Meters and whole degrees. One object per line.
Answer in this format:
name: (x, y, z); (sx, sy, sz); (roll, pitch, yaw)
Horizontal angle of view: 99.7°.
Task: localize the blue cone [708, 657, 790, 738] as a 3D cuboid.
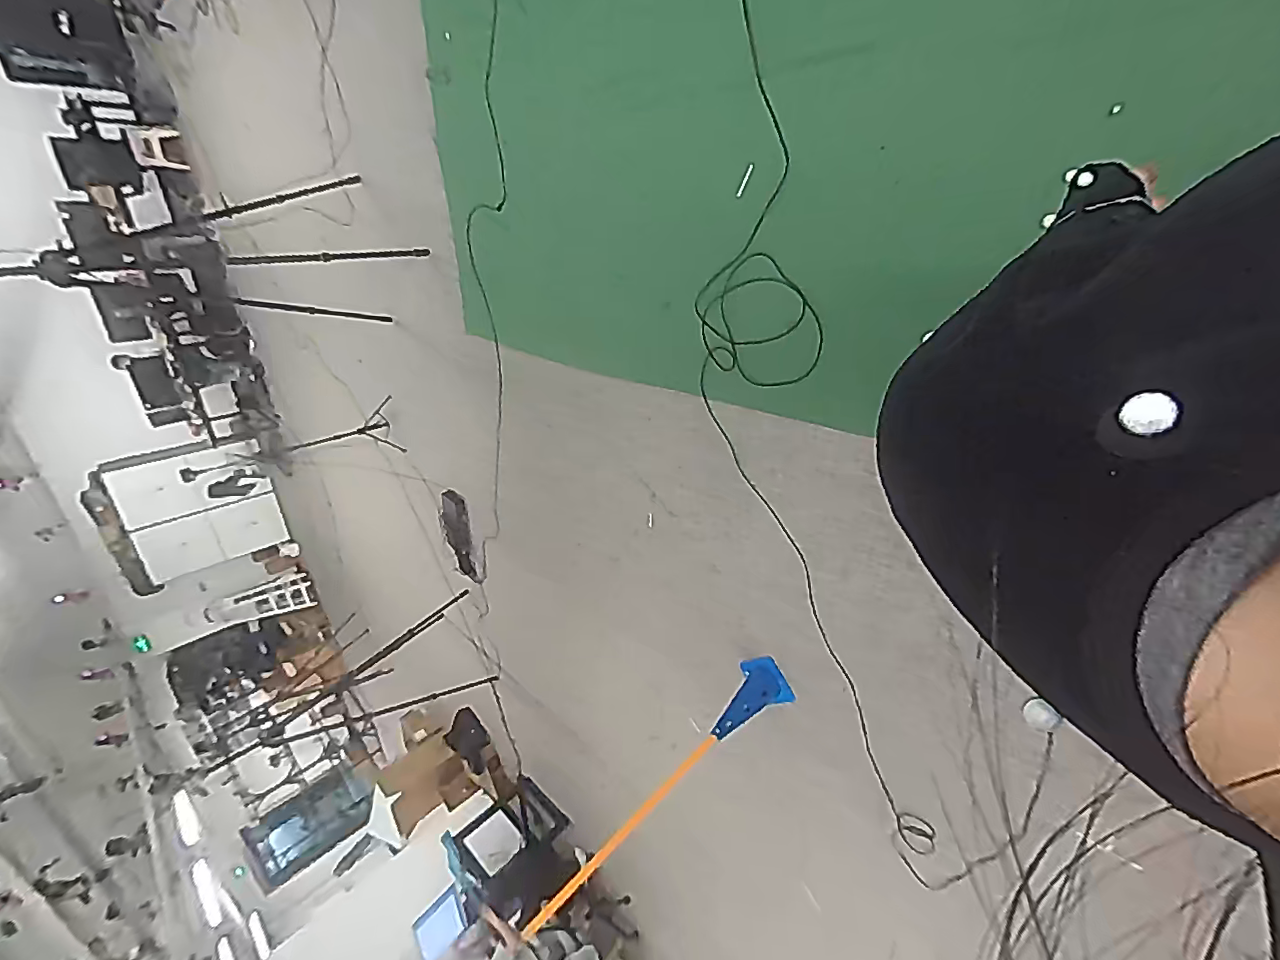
blue cone: (0.399, 0.878, 2.105); (0.192, 0.380, 0.193); (57, 141, 7)
